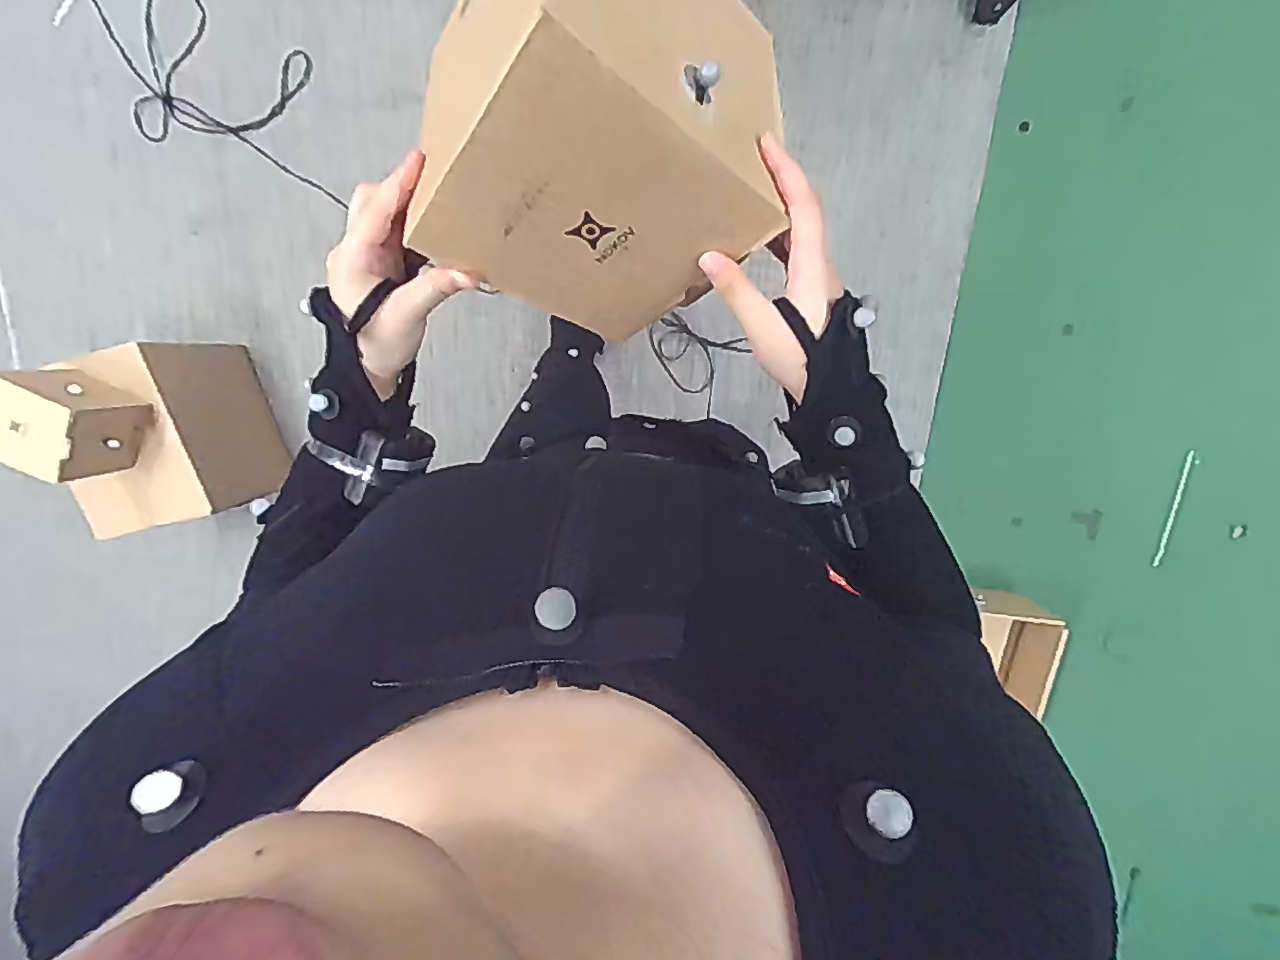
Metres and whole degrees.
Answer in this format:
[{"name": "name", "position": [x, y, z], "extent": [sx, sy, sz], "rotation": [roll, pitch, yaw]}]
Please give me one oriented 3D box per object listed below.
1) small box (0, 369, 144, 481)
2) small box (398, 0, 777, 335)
[{"name": "small box", "position": [-1.193, -0.122, 1.116], "extent": [0.179, 0.176, 0.168], "rotation": [25, 103, -5]}, {"name": "small box", "position": [-0.034, -0.230, 0.353], "extent": [0.179, 0.168, 0.176], "rotation": [15, 65, -37]}]
